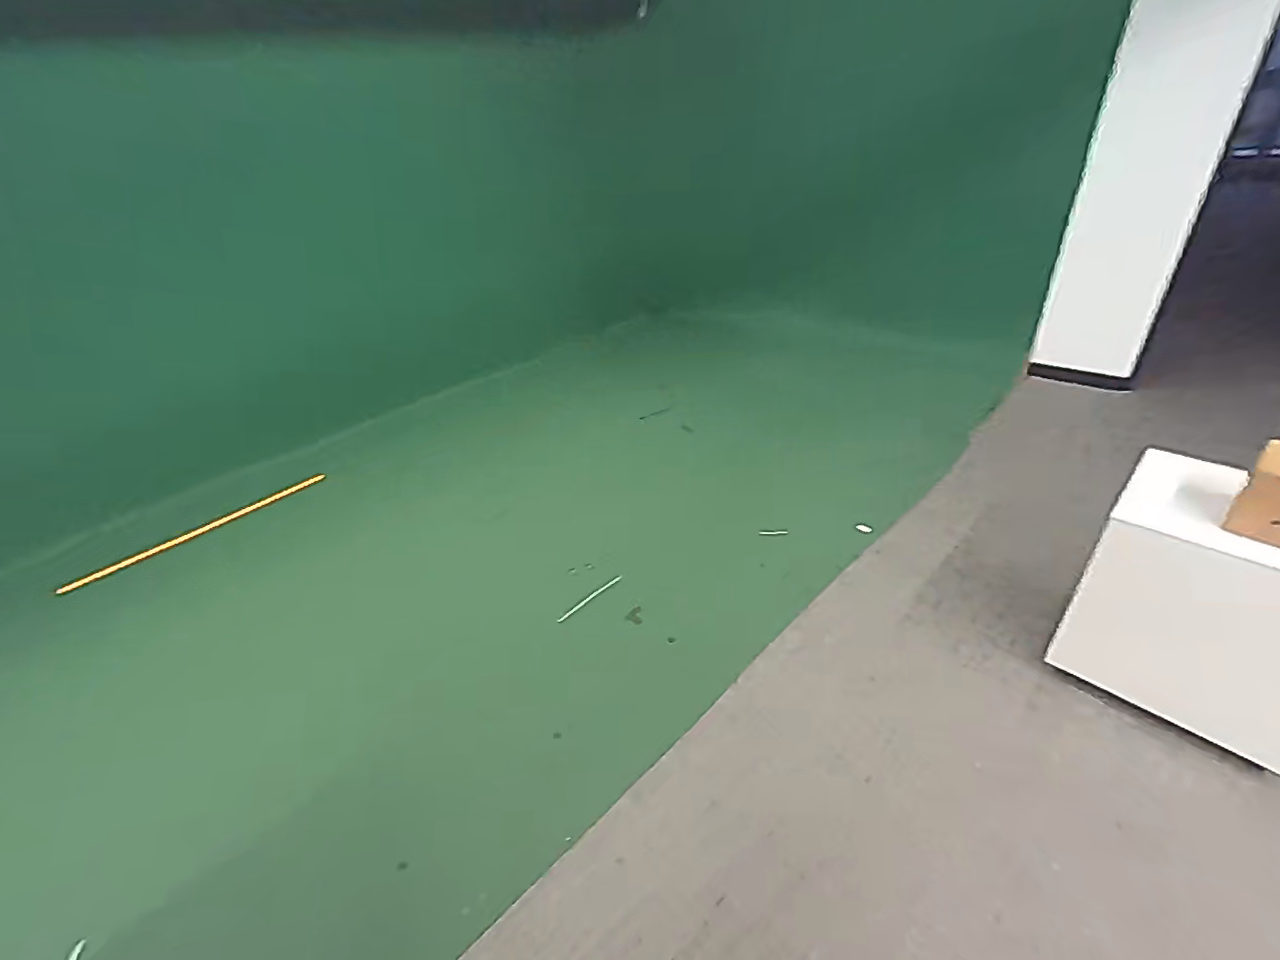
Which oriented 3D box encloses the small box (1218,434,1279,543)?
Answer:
[{"bbox_3d":[1.432,0.026,1.190,0.179,0.176,0.168,-31,40,-30],"label":"small box"}]
